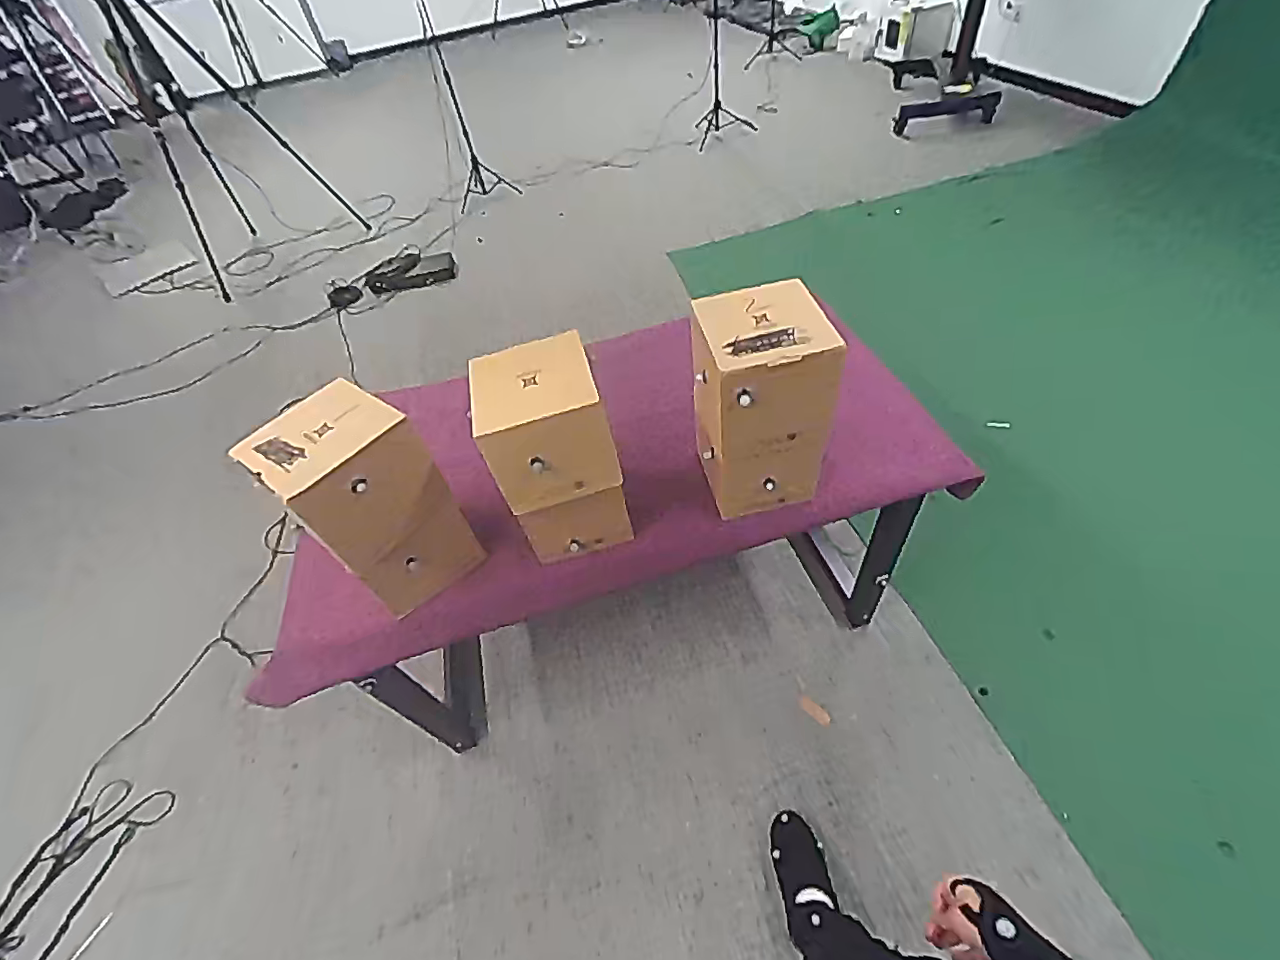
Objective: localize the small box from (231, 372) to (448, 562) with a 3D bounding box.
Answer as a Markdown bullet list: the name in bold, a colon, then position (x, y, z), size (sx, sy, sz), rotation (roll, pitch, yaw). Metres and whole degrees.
- **small box**: position (-0.409, -0.017, 0.763), size (0.168, 0.176, 0.179), rotation (28, 58, 28)

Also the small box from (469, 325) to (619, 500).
- **small box**: position (-0.136, -0.090, 0.786), size (0.168, 0.176, 0.179), rotation (-17, 48, -3)

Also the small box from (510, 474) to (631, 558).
- **small box**: position (-0.121, 0.003, 0.919), size (0.168, 0.176, 0.179), rotation (-16, 49, -3)

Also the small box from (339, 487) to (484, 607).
- **small box**: position (-0.391, 0.078, 0.898), size (0.179, 0.176, 0.168), rotation (-36, 54, -20)

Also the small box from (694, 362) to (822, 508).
- **small box**: position (0.194, -0.069, 0.926), size (0.168, 0.176, 0.179), rotation (-12, 50, -1)
